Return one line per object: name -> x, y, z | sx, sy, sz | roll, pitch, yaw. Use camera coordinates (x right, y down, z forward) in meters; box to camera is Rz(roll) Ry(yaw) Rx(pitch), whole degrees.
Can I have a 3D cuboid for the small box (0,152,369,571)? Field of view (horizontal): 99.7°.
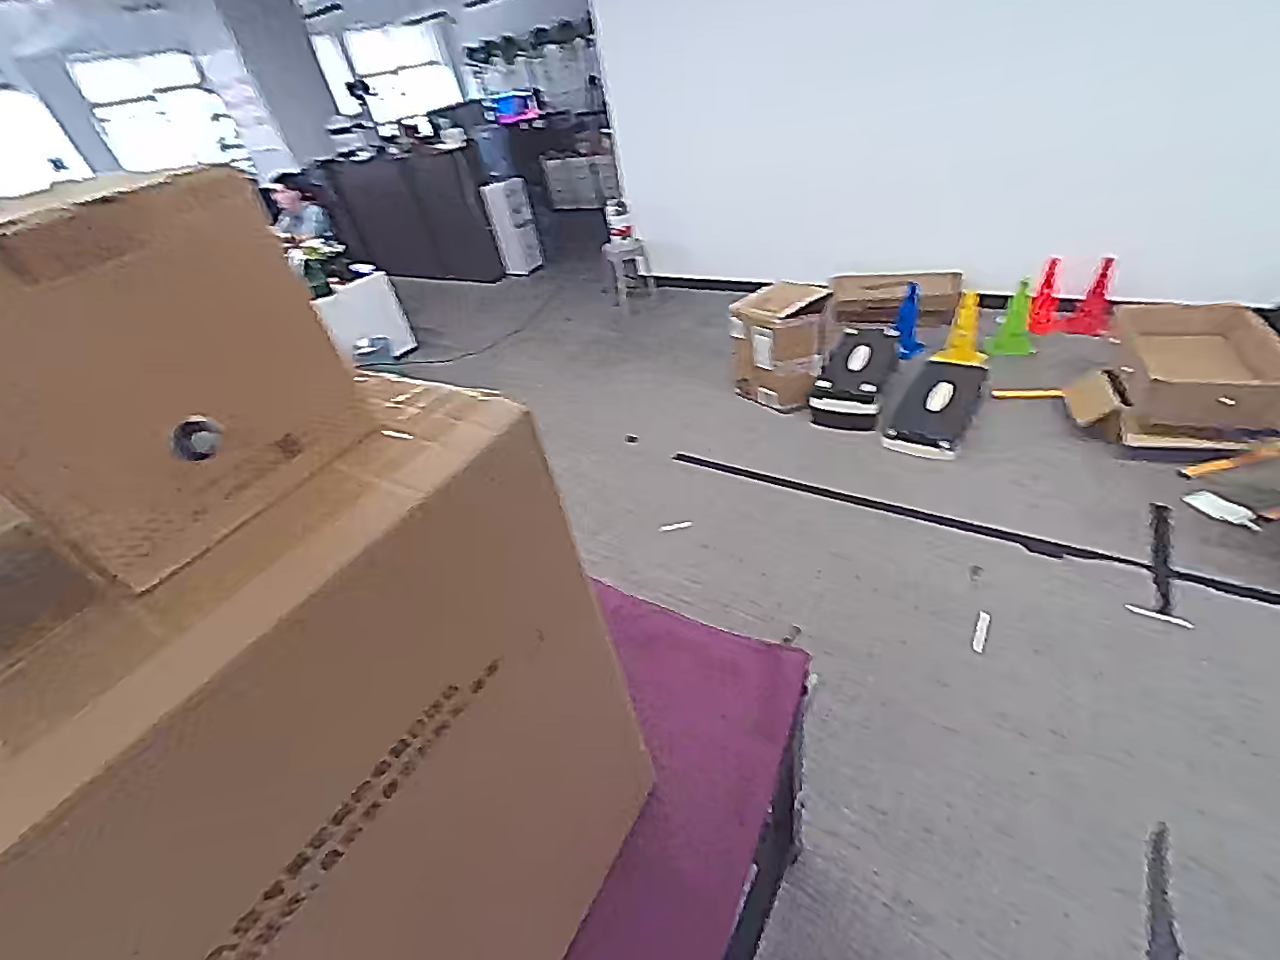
small box -> -0.306, -0.072, 0.315 | 0.179, 0.176, 0.168 | 13, 45, 27
